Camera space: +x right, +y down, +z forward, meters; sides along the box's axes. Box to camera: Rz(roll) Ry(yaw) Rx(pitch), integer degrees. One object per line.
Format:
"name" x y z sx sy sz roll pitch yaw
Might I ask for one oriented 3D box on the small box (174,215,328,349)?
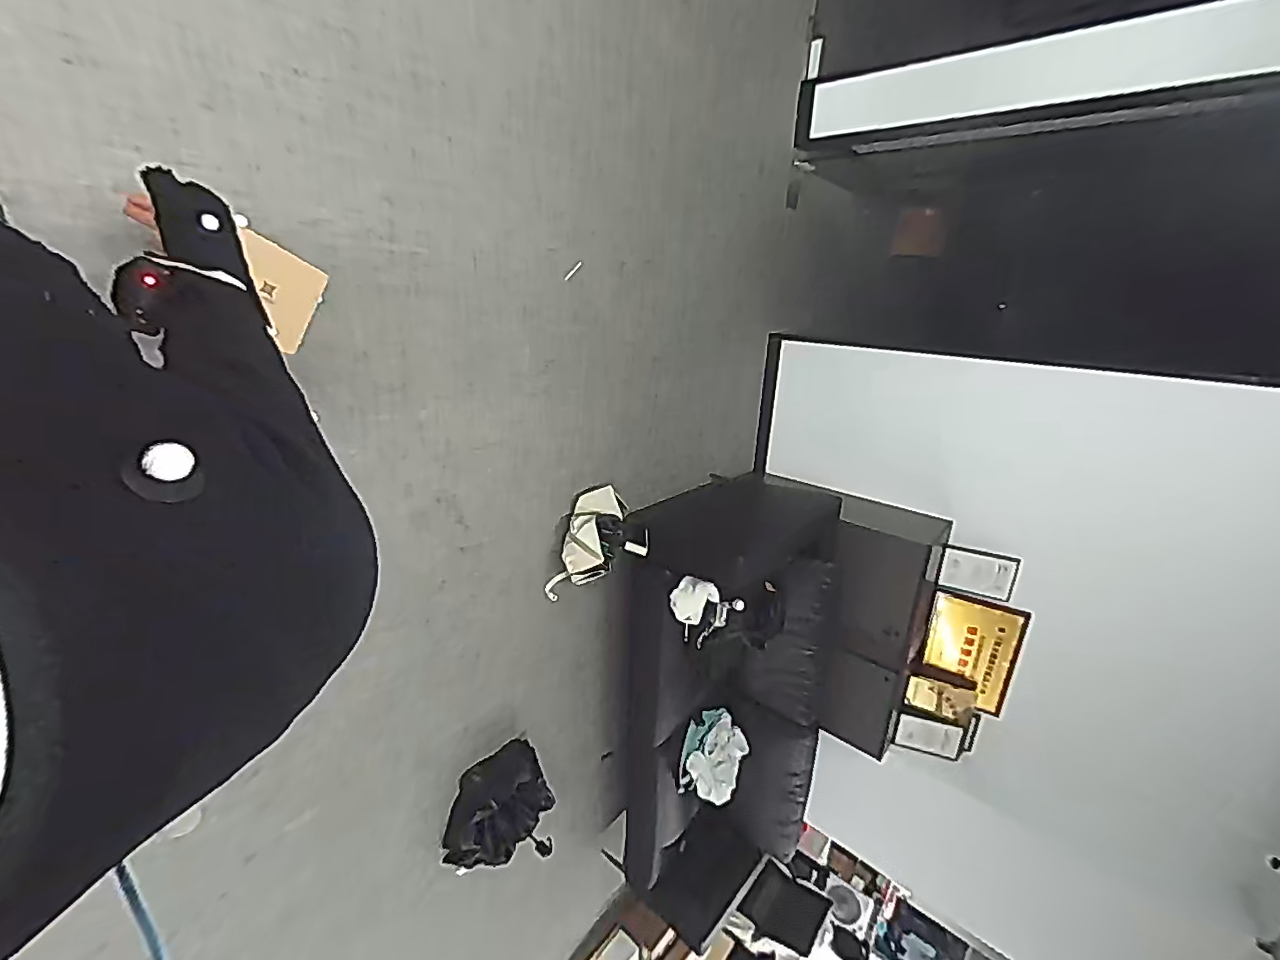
"small box" -0.738 -0.372 1.023 0.168 0.176 0.179 26 85 -53

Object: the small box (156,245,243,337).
"small box" -0.855 -0.393 1.113 0.179 0.176 0.168 -26 124 -44
